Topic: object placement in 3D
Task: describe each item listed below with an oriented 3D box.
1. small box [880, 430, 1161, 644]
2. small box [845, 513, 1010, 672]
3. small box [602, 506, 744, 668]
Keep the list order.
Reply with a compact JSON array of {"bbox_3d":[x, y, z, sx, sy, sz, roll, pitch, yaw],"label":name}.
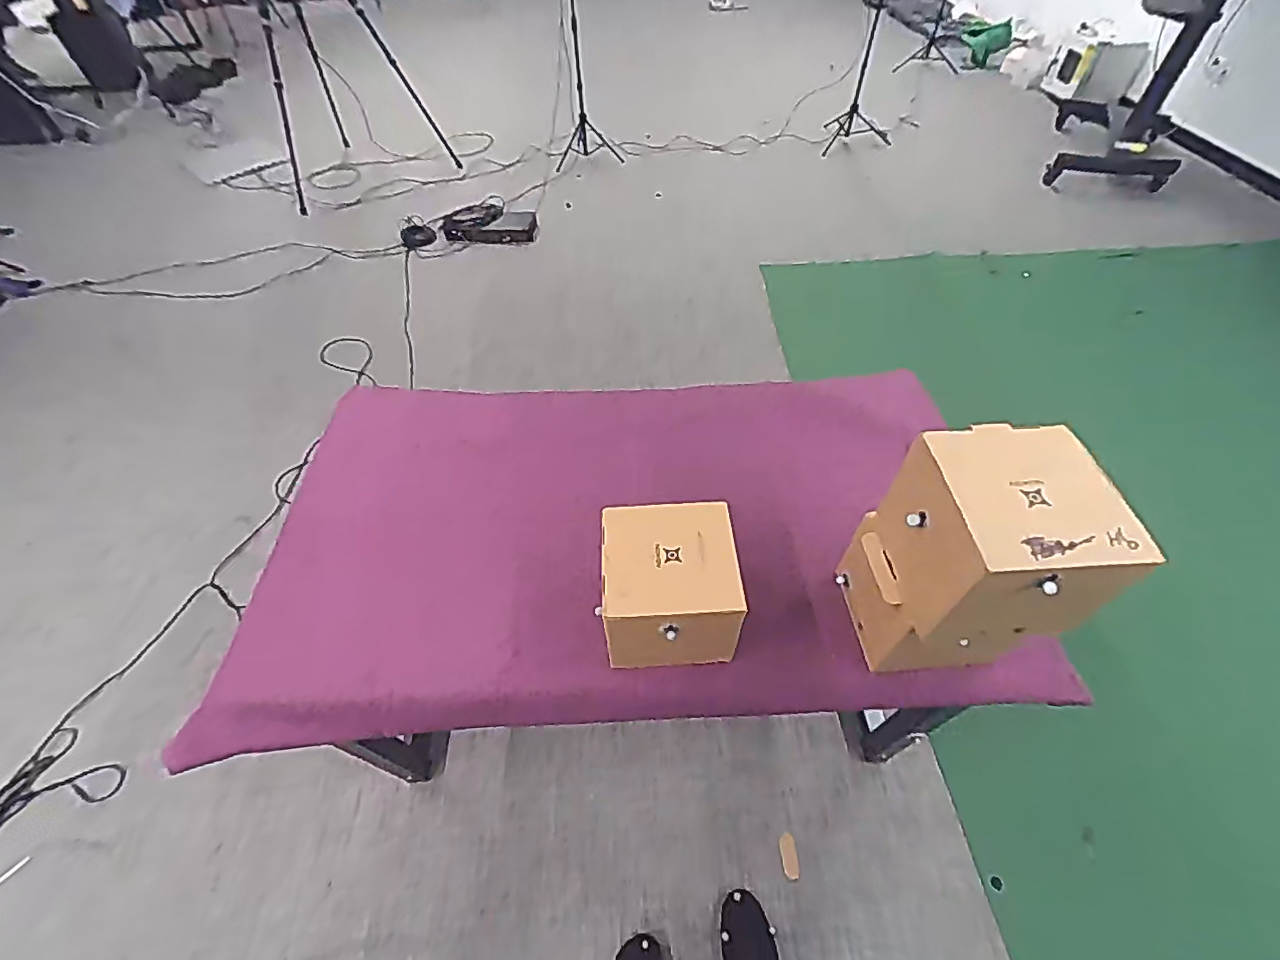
[{"bbox_3d":[0.395,0.066,0.608,0.168,0.176,0.179,-4,51,1],"label":"small box"},{"bbox_3d":[0.401,0.154,0.747,0.179,0.176,0.168,-4,52,-2],"label":"small box"},{"bbox_3d":[0.041,0.155,0.761,0.179,0.176,0.168,-2,50,0],"label":"small box"}]
